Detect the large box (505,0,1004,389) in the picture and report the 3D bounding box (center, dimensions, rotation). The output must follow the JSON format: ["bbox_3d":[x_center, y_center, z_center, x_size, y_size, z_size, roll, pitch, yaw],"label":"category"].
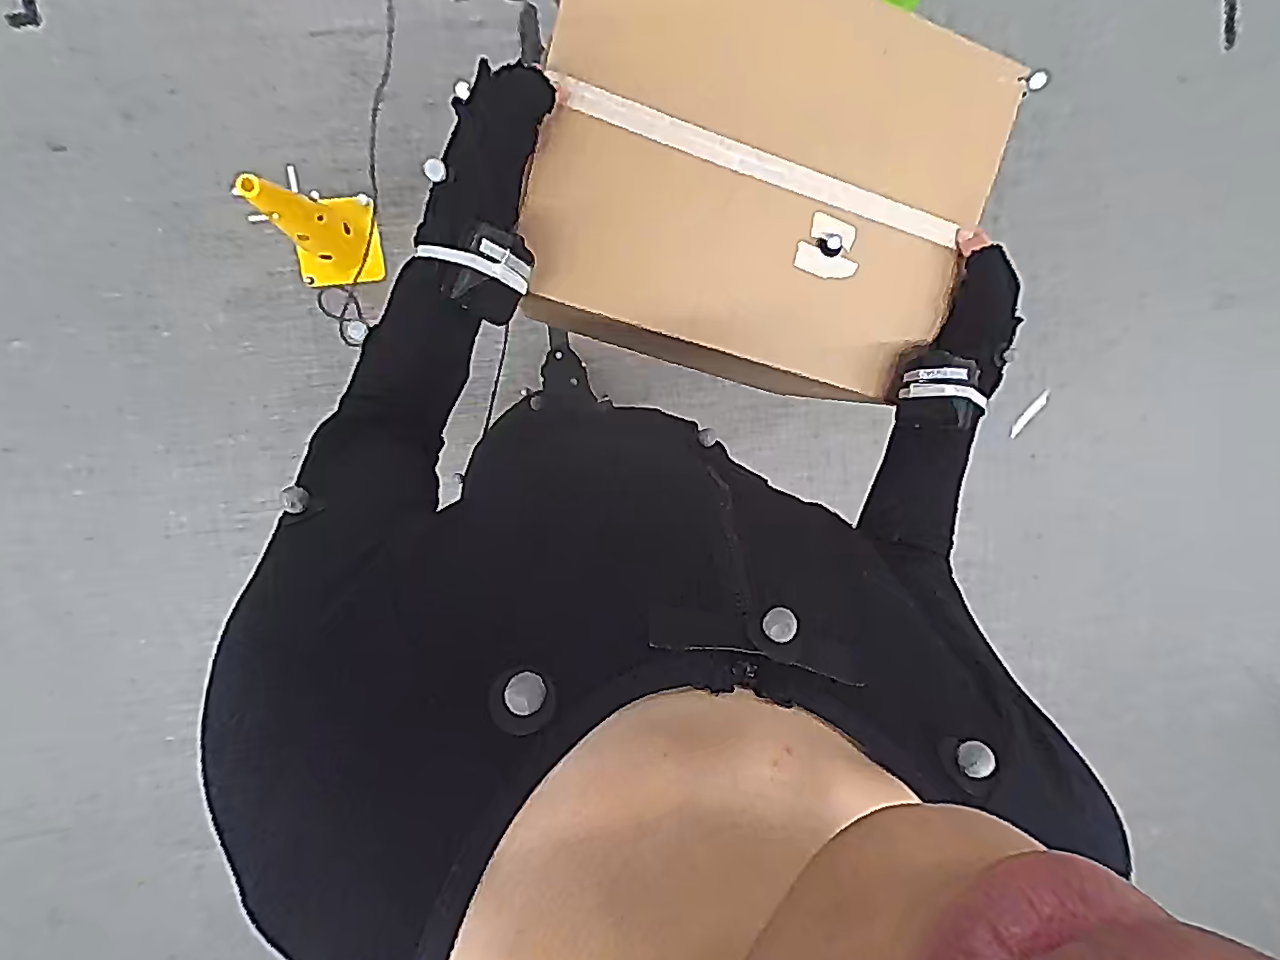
[{"bbox_3d":[0.083,-0.301,0.617,0.408,0.320,0.320,13,99,-12],"label":"large box"}]
